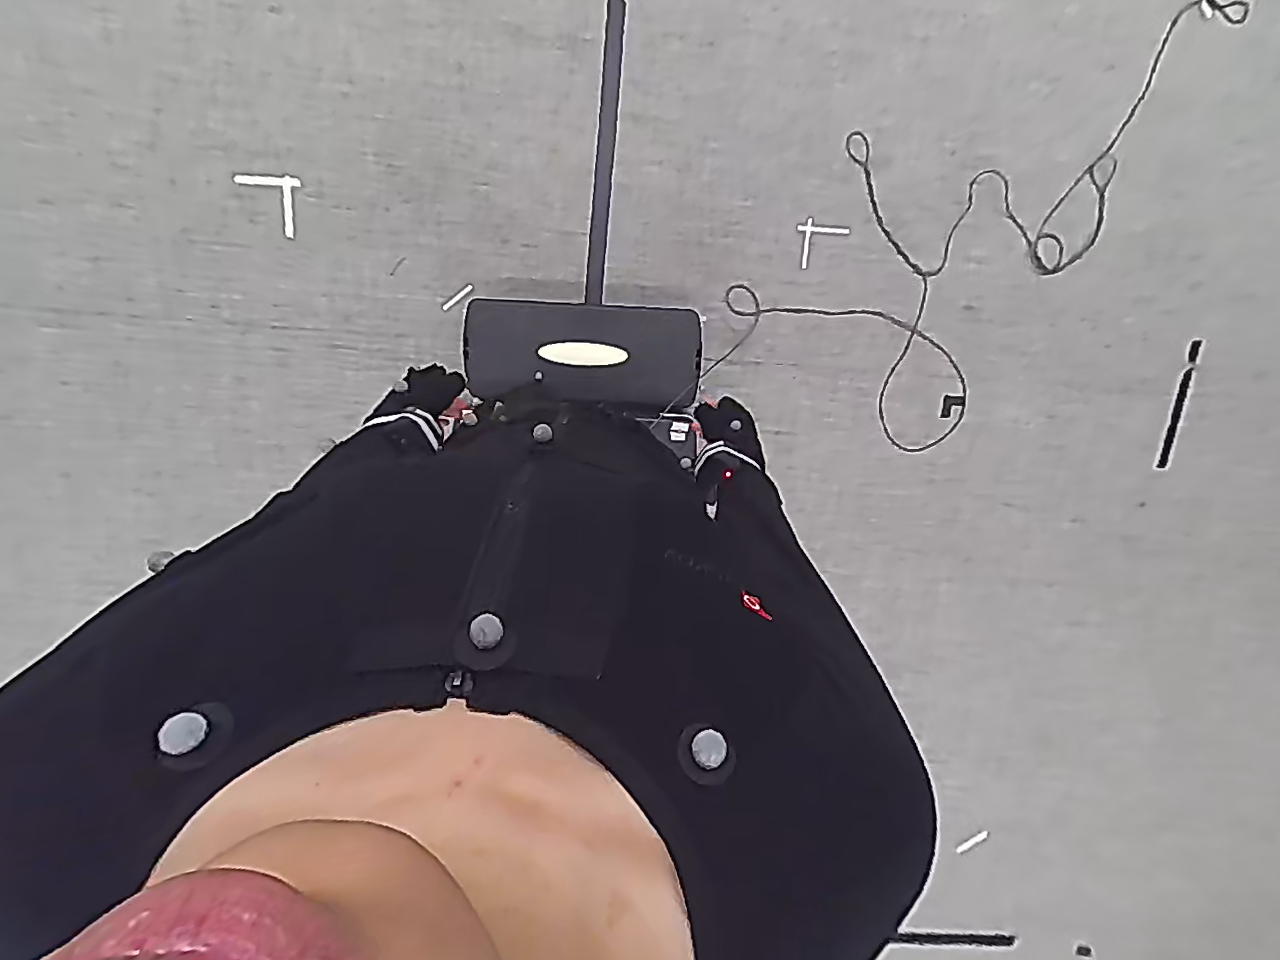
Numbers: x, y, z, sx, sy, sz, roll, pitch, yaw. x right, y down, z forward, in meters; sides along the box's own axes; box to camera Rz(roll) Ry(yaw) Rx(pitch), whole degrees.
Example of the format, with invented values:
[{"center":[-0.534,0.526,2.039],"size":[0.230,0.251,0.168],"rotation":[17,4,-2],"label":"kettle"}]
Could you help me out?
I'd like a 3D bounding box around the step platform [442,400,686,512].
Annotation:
[{"center":[-0.208,-0.071,1.553],"size":[0.684,0.204,0.286],"rotation":[3,100,-2],"label":"step platform"}]
